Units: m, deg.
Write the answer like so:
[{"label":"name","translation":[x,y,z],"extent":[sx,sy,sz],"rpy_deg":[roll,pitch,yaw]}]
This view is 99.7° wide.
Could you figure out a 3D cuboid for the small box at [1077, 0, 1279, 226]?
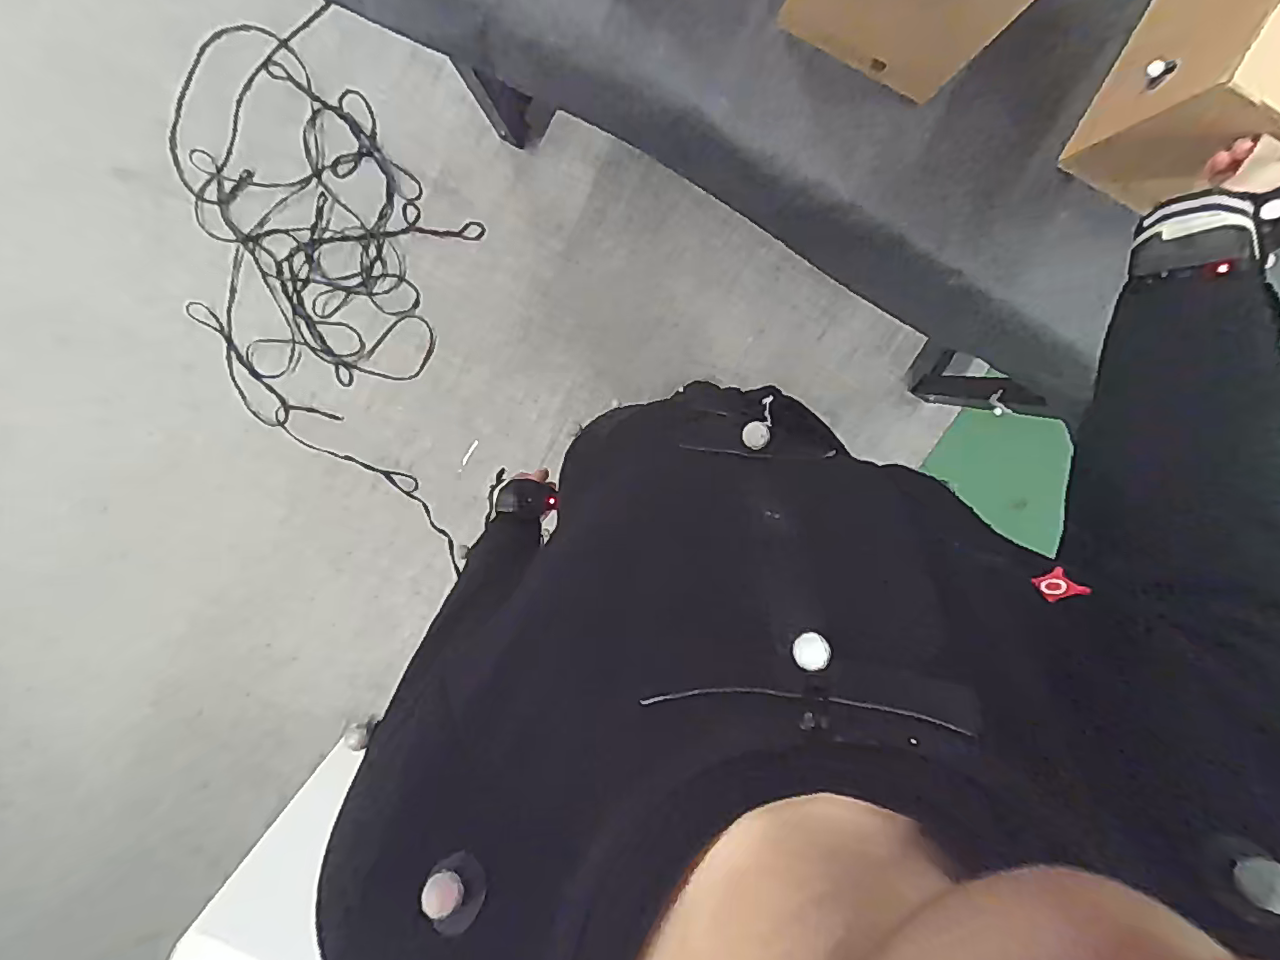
[{"label":"small box","translation":[0.531,-0.347,0.457],"extent":[0.168,0.176,0.179],"rpy_deg":[25,100,-6]}]
